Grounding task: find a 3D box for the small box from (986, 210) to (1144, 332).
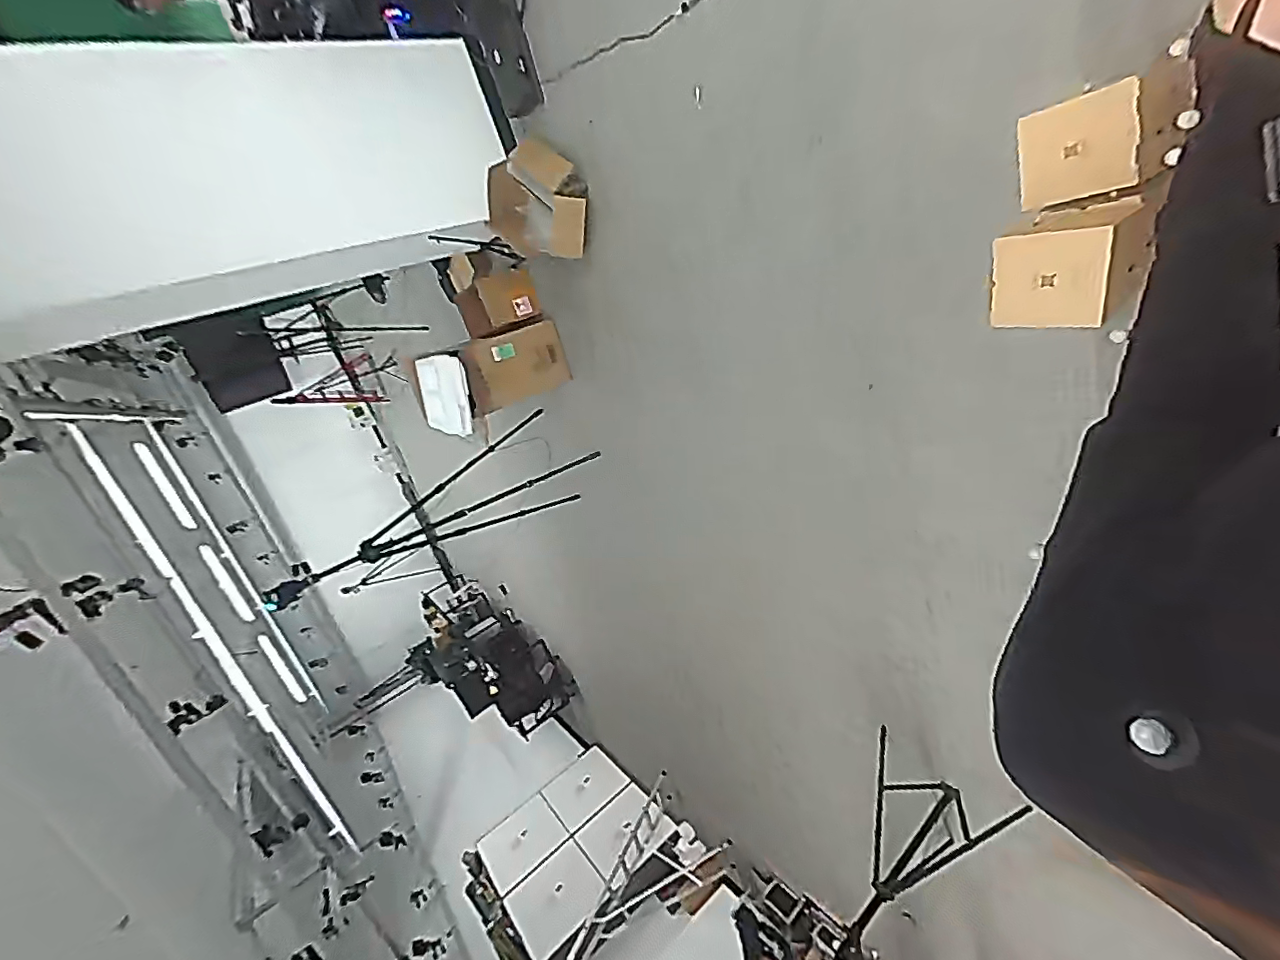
[{"bbox_3d":[0.765,-0.376,0.982,0.179,0.176,0.168,20,133,50],"label":"small box"}]
